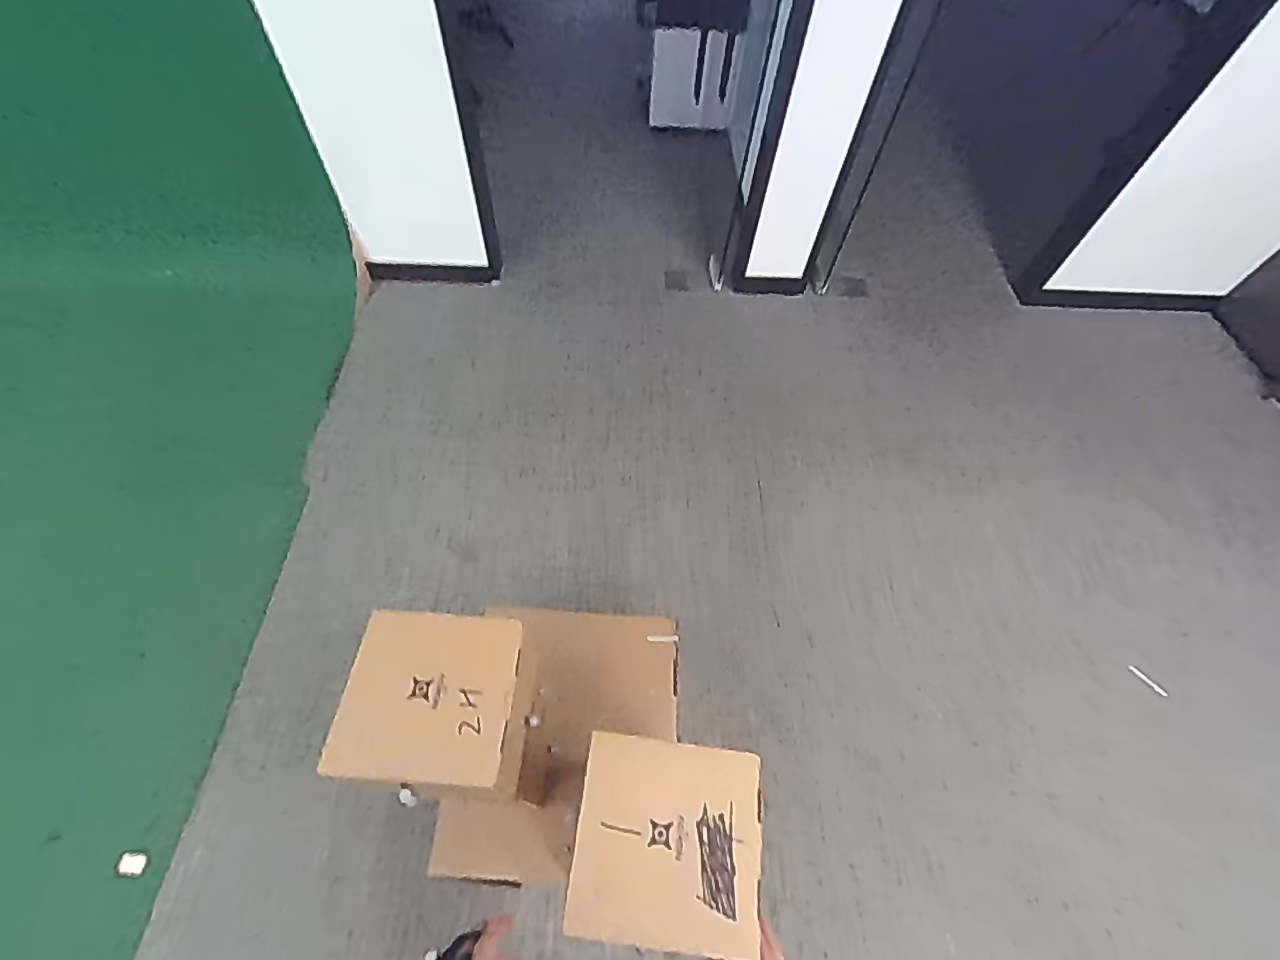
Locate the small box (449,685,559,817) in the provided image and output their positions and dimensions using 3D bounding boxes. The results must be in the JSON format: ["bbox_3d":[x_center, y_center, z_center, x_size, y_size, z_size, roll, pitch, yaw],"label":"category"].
[{"bbox_3d":[-0.233,0.447,0.904,0.168,0.176,0.179,6,54,1],"label":"small box"}]

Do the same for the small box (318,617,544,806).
[{"bbox_3d":[-0.219,0.271,0.624,0.179,0.176,0.168,4,56,1],"label":"small box"}]

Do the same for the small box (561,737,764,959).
[{"bbox_3d":[0.022,0.382,0.569,0.179,0.176,0.168,8,56,1],"label":"small box"}]
